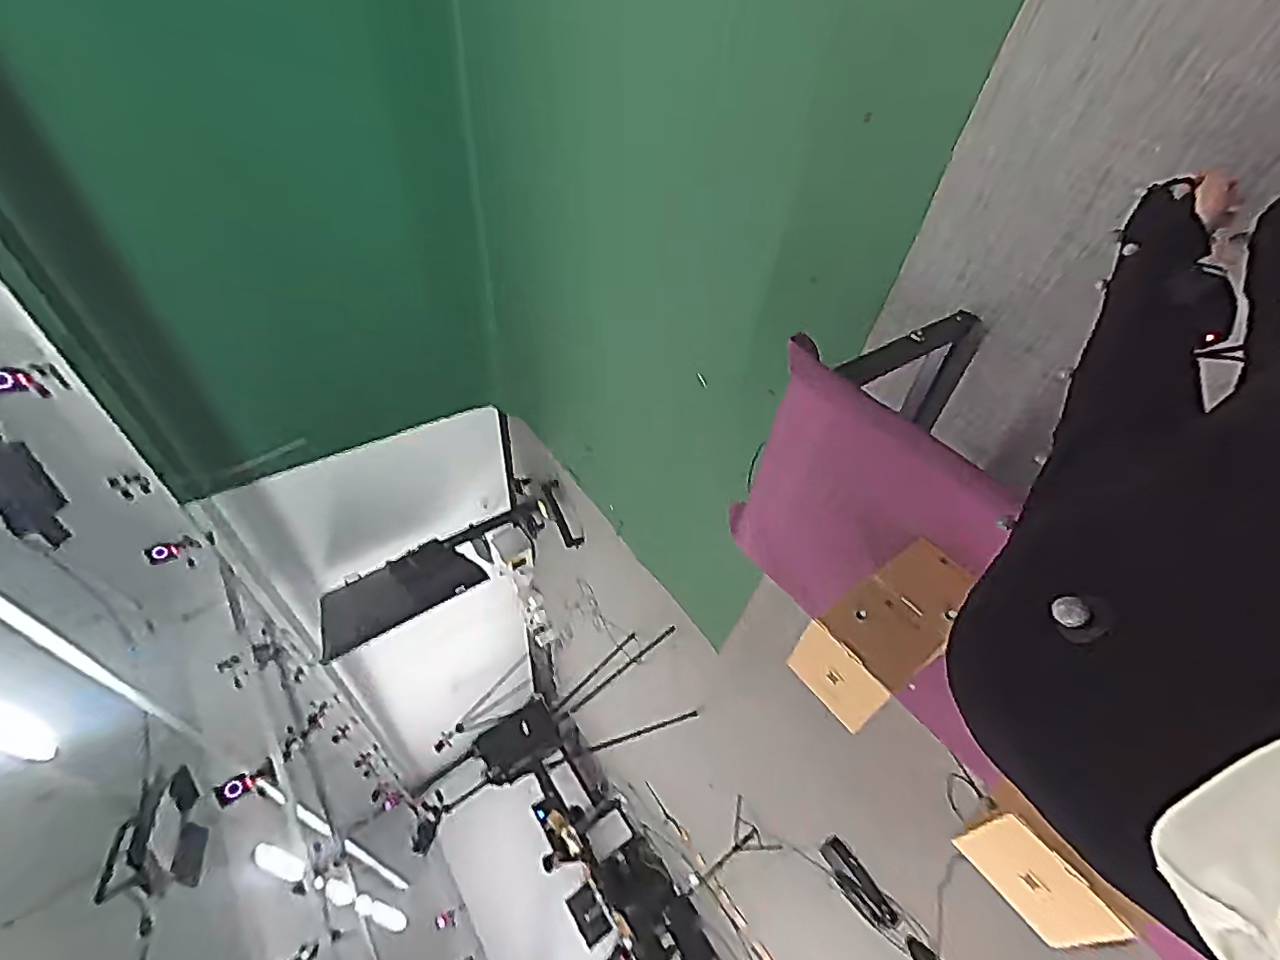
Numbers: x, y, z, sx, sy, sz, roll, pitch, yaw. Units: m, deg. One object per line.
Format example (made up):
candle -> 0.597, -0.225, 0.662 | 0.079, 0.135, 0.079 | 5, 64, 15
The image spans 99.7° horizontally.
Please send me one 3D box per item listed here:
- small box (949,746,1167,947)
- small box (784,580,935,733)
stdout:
small box -> 0.614, 0.537, 0.802 | 0.168, 0.176, 0.179 | 45, 146, 33
small box -> 0.399, 0.315, 0.987 | 0.168, 0.176, 0.179 | 46, 148, 32
